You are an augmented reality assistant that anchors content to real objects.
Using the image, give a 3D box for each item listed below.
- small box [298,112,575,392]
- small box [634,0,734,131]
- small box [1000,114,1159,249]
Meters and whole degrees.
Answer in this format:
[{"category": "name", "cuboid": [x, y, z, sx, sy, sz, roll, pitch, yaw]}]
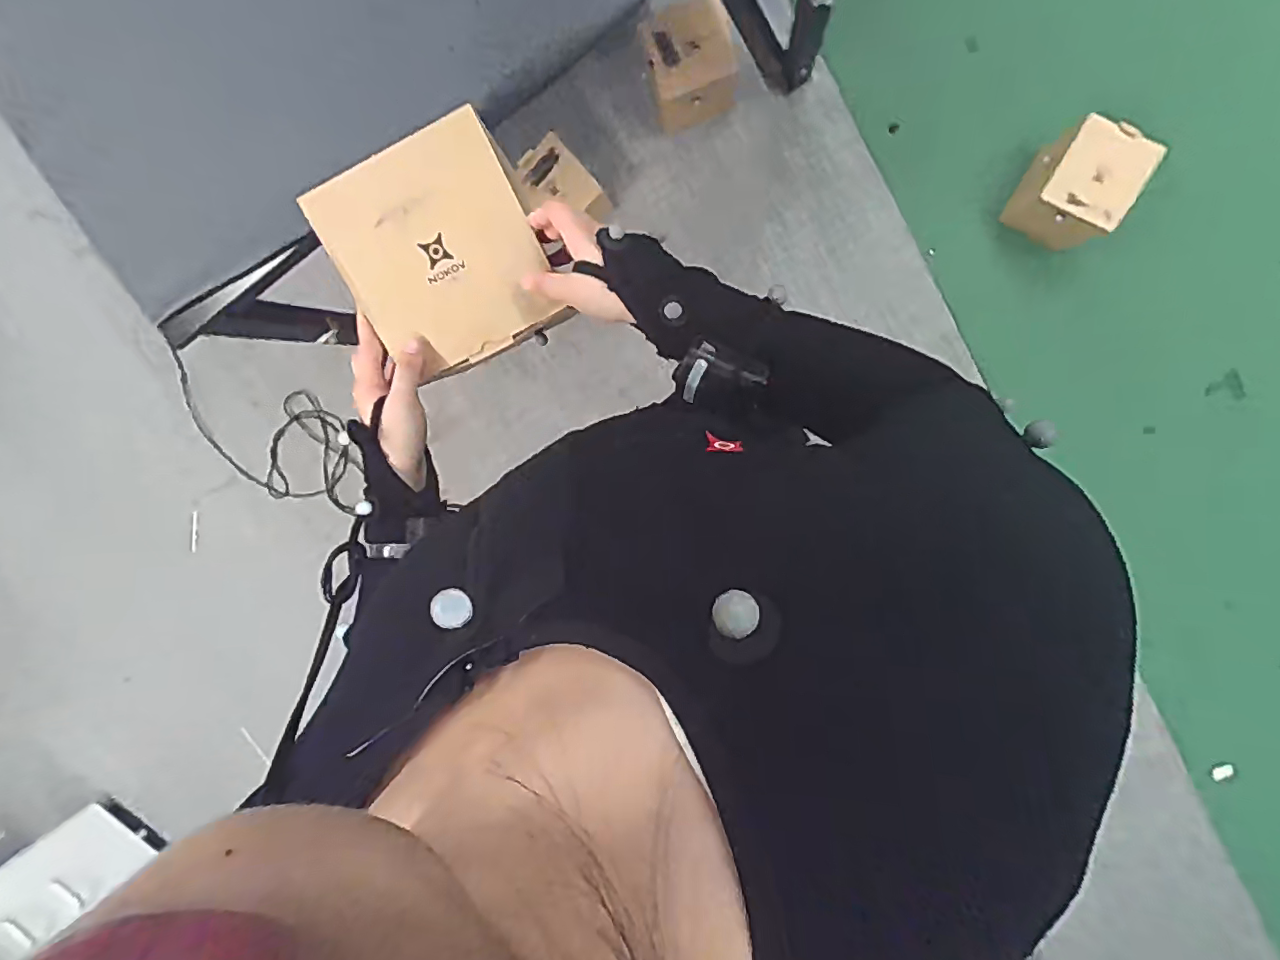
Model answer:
[{"category": "small box", "cuboid": [-0.174, -0.209, 0.533, 0.168, 0.176, 0.179, -25, 107, 4]}, {"category": "small box", "cuboid": [0.102, -0.924, 1.208, 0.179, 0.176, 0.168, -18, 99, 9]}, {"category": "small box", "cuboid": [0.929, -0.631, 1.167, 0.168, 0.176, 0.179, 27, 103, 1]}]
